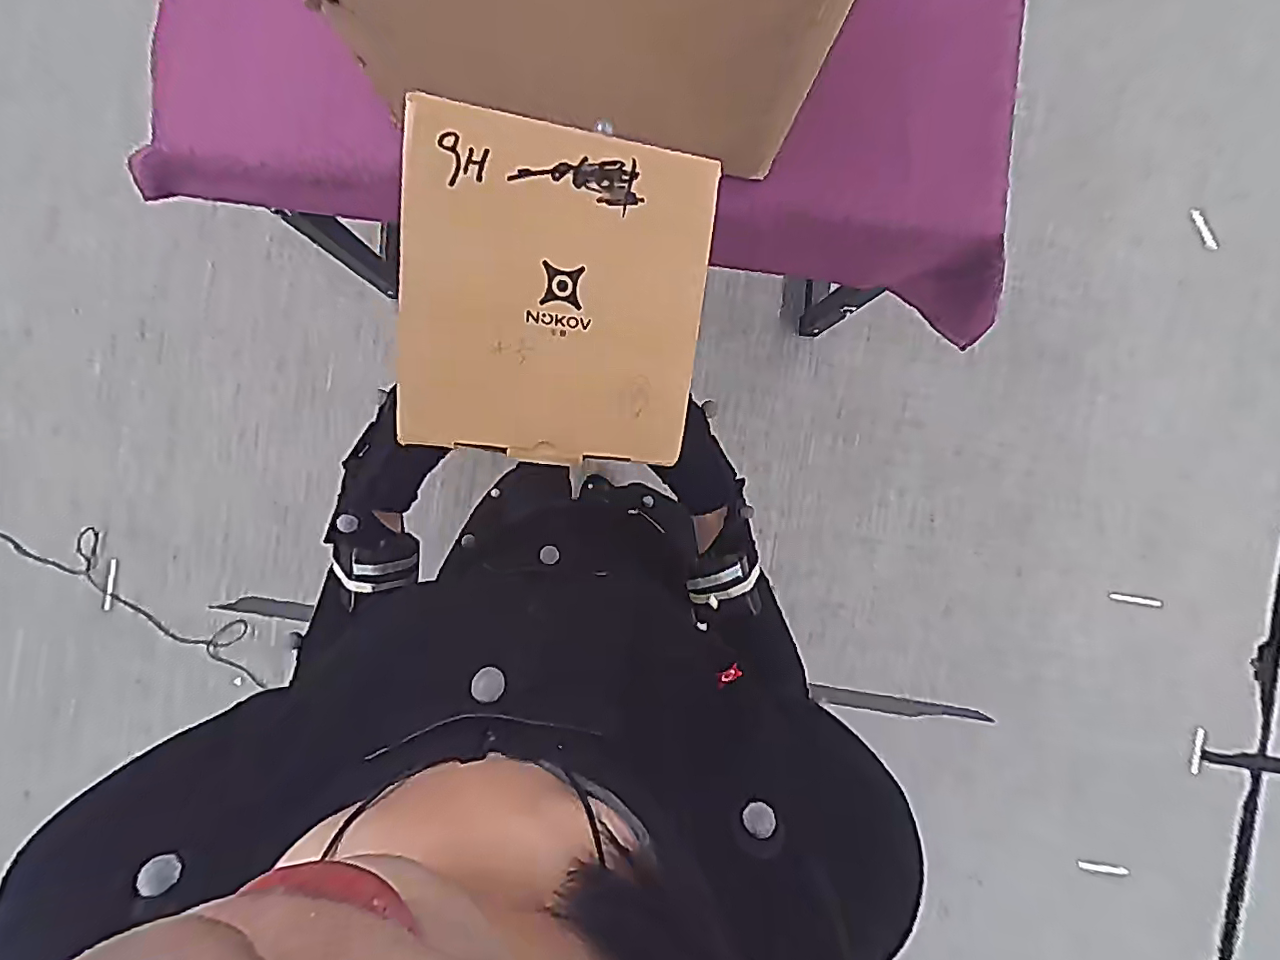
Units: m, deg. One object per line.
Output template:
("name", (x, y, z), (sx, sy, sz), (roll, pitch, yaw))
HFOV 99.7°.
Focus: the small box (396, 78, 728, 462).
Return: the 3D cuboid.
("small box", (-0.058, -0.121, 0.368), (0.168, 0.176, 0.179), (4, 104, -14))
